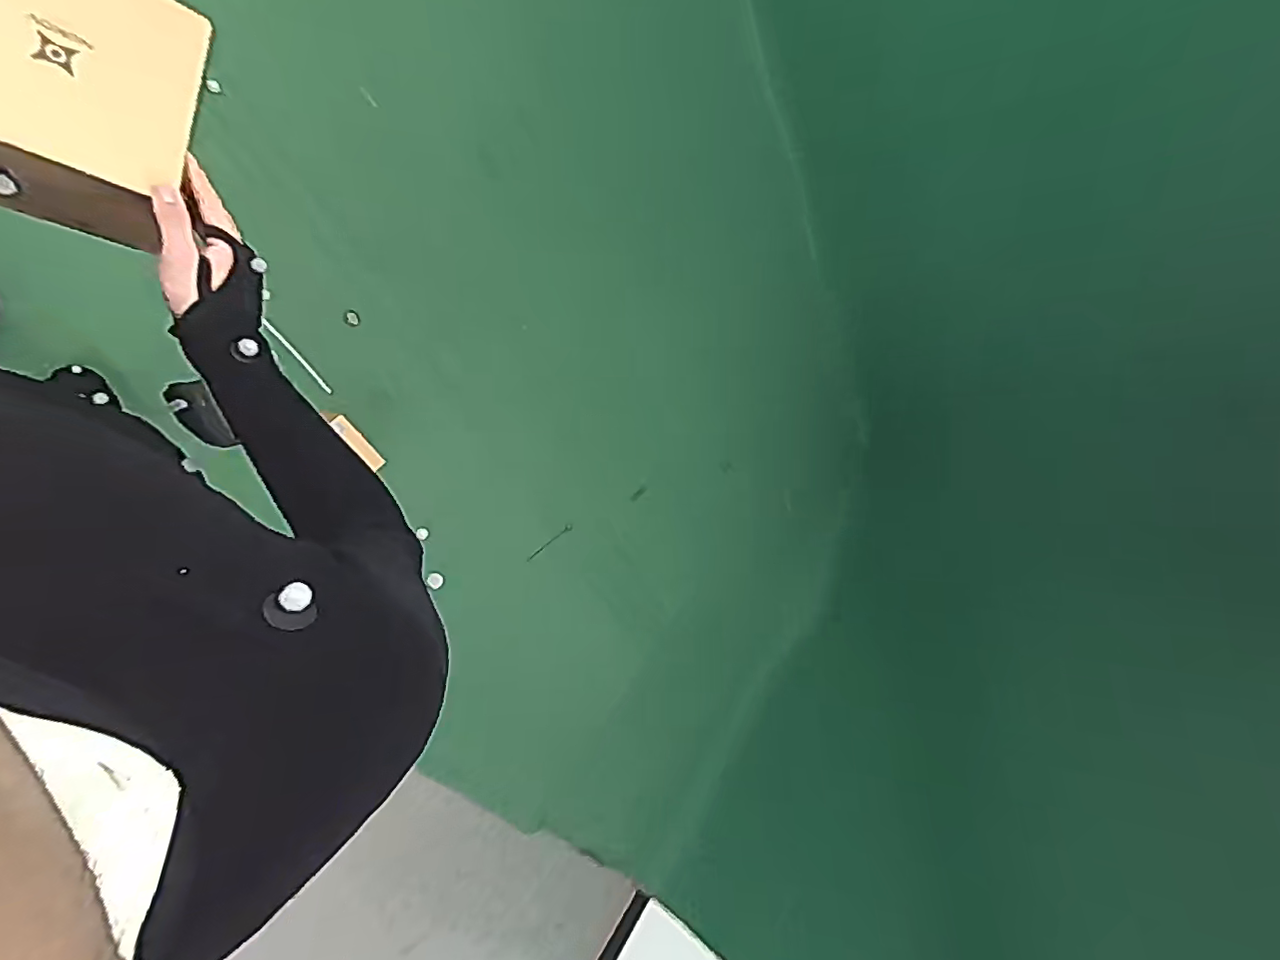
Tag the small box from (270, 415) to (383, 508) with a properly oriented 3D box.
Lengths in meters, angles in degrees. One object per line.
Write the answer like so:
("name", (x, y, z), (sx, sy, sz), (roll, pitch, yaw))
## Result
("small box", (-0.821, -0.056, 1.412), (0.179, 0.176, 0.168), (-50, 128, -26))
